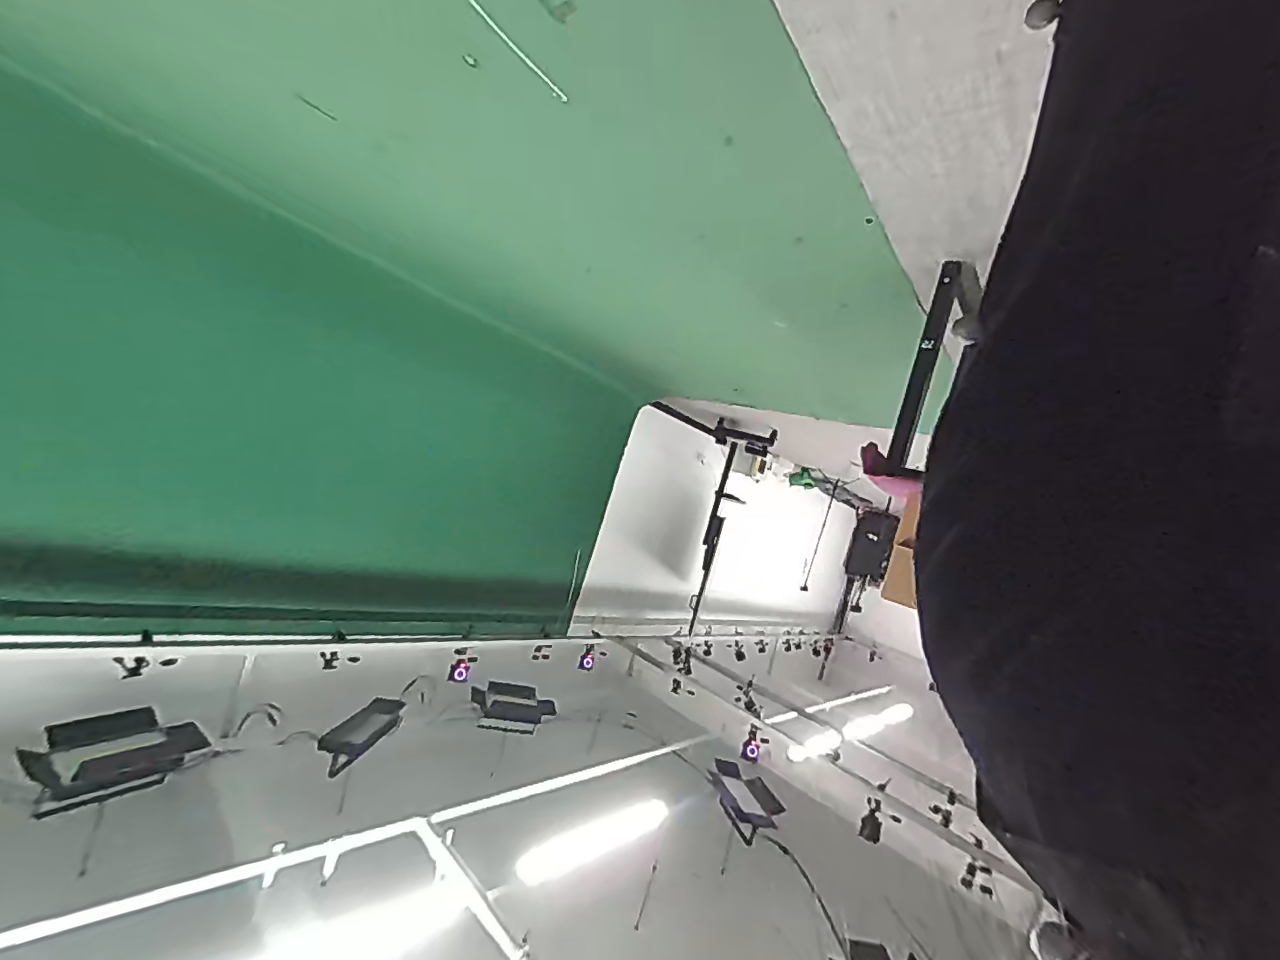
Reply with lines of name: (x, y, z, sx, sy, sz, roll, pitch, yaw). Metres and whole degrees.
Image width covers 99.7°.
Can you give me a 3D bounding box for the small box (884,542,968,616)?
small box: (0.846, 0.290, 1.591, 0.168, 0.176, 0.179, 15, 178, 40)
